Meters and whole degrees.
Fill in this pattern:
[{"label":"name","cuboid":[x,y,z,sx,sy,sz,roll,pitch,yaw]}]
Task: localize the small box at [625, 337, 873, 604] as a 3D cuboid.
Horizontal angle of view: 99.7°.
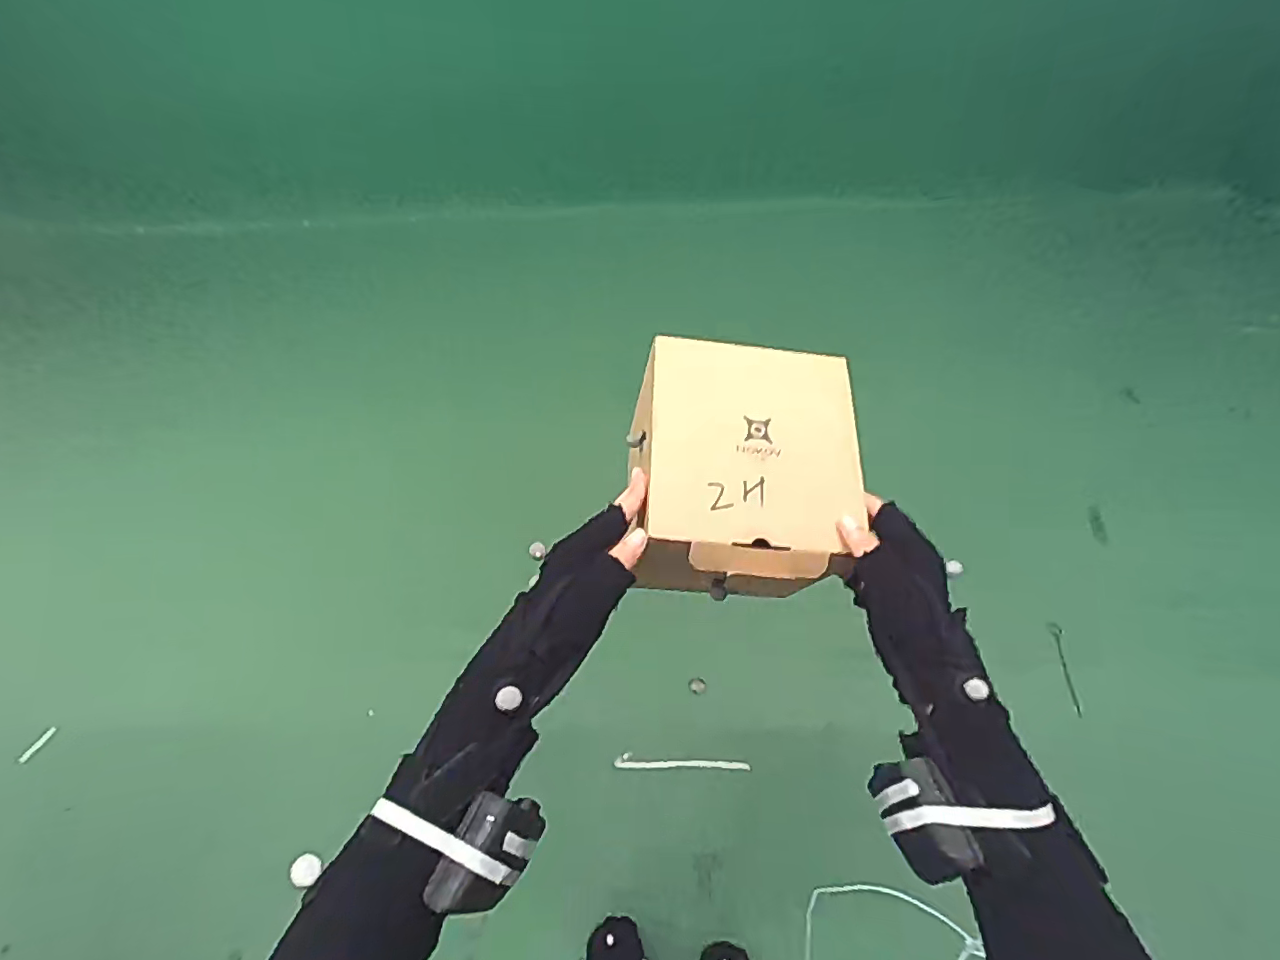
[{"label":"small box","cuboid":[0.078,0.002,0.483,0.168,0.176,0.179,5,65,-5]}]
